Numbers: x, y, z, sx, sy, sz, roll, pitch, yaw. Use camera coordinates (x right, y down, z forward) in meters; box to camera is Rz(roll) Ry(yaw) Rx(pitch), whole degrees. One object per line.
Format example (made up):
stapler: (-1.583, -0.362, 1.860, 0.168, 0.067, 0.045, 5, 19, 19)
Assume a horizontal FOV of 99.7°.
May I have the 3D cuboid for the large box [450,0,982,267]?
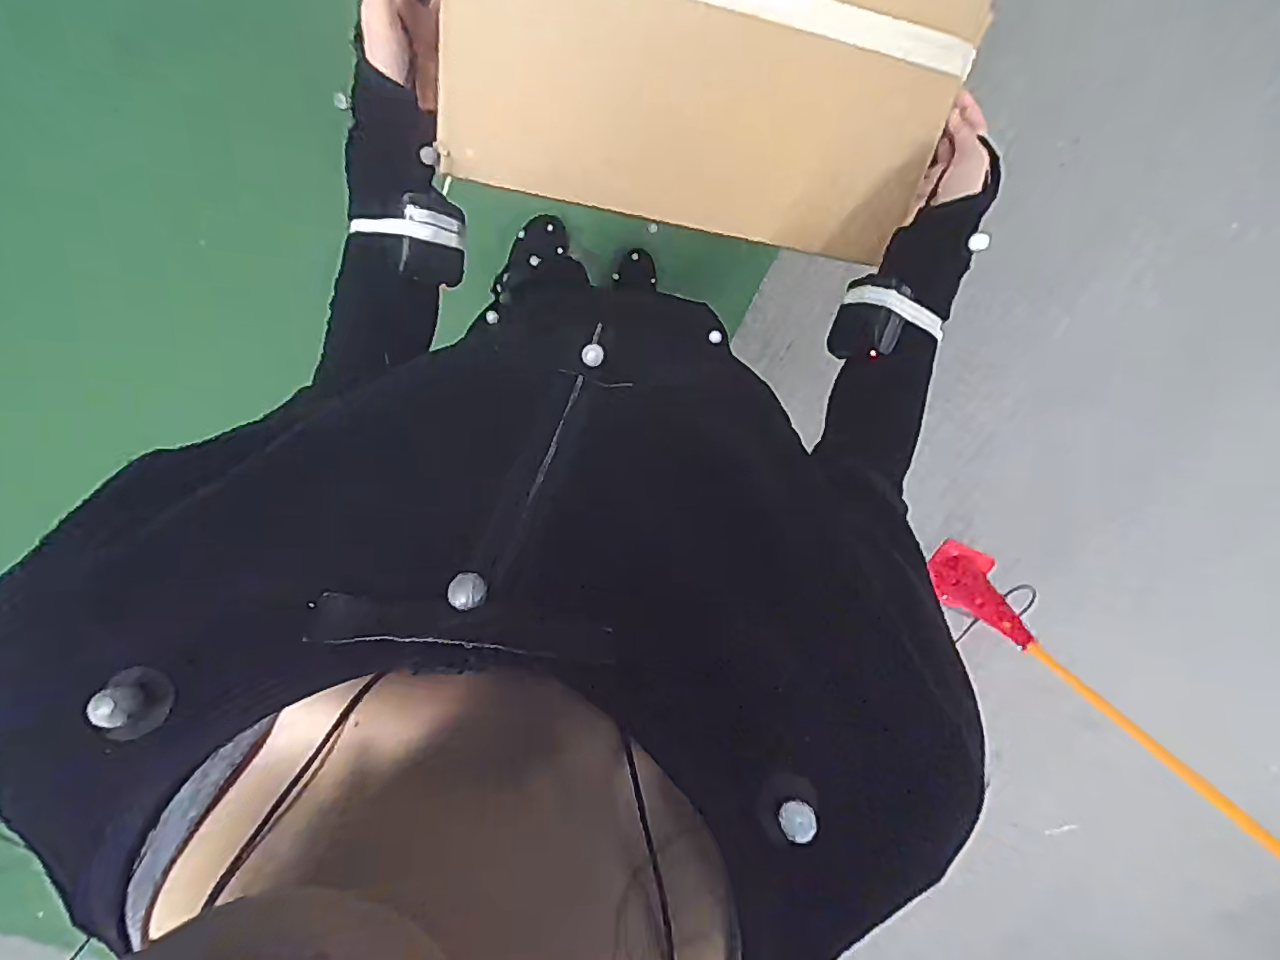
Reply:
large box: (0.054, -0.433, 0.545, 0.408, 0.320, 0.320, 9, 117, -10)
